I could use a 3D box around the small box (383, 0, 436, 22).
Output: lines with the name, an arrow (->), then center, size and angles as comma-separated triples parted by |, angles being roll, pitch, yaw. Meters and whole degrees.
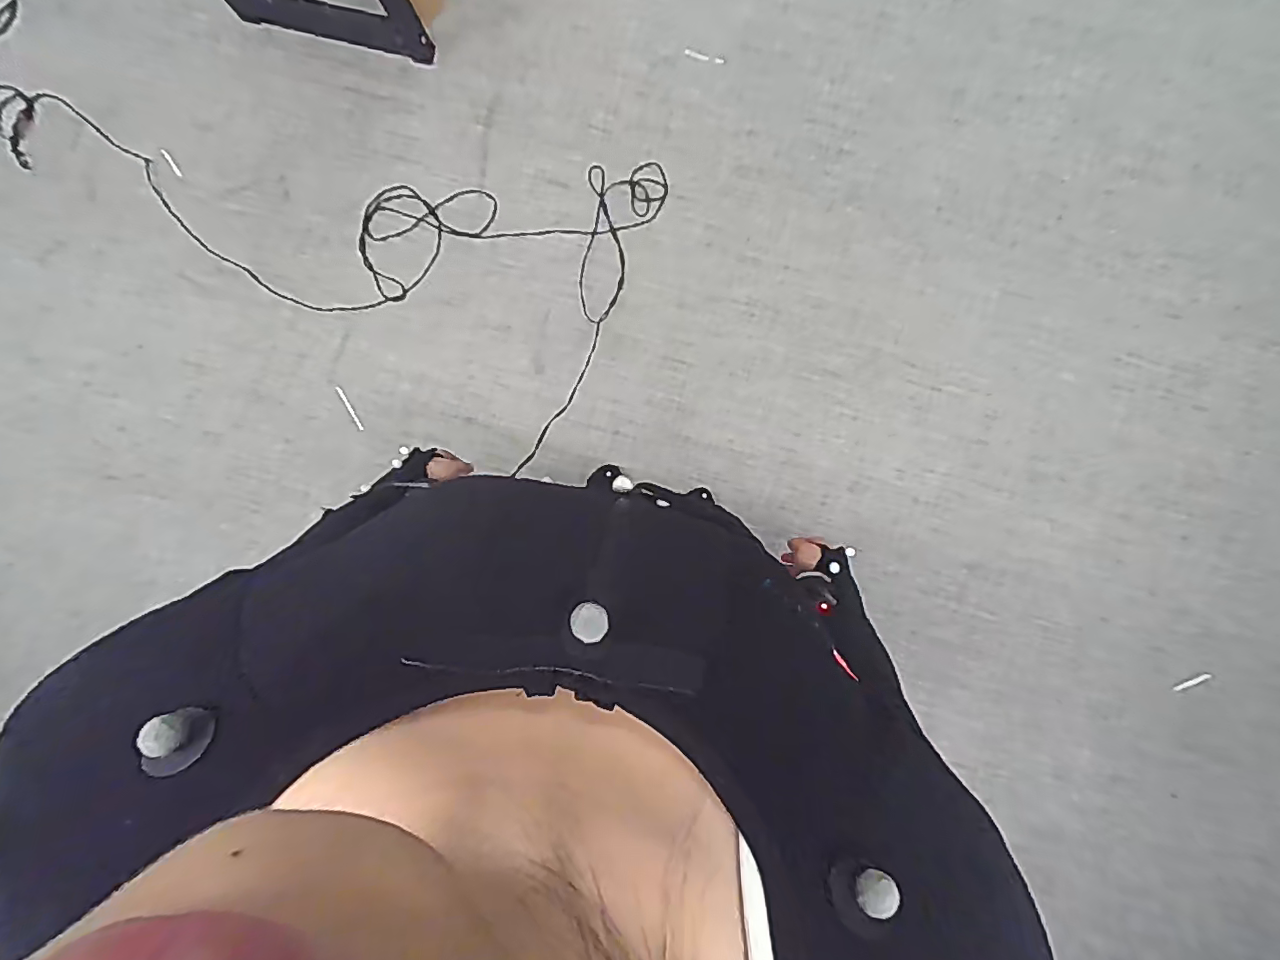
small box -> -0.638, -1.396, 1.446 | 0.168, 0.176, 0.179 | 28, 91, 2
